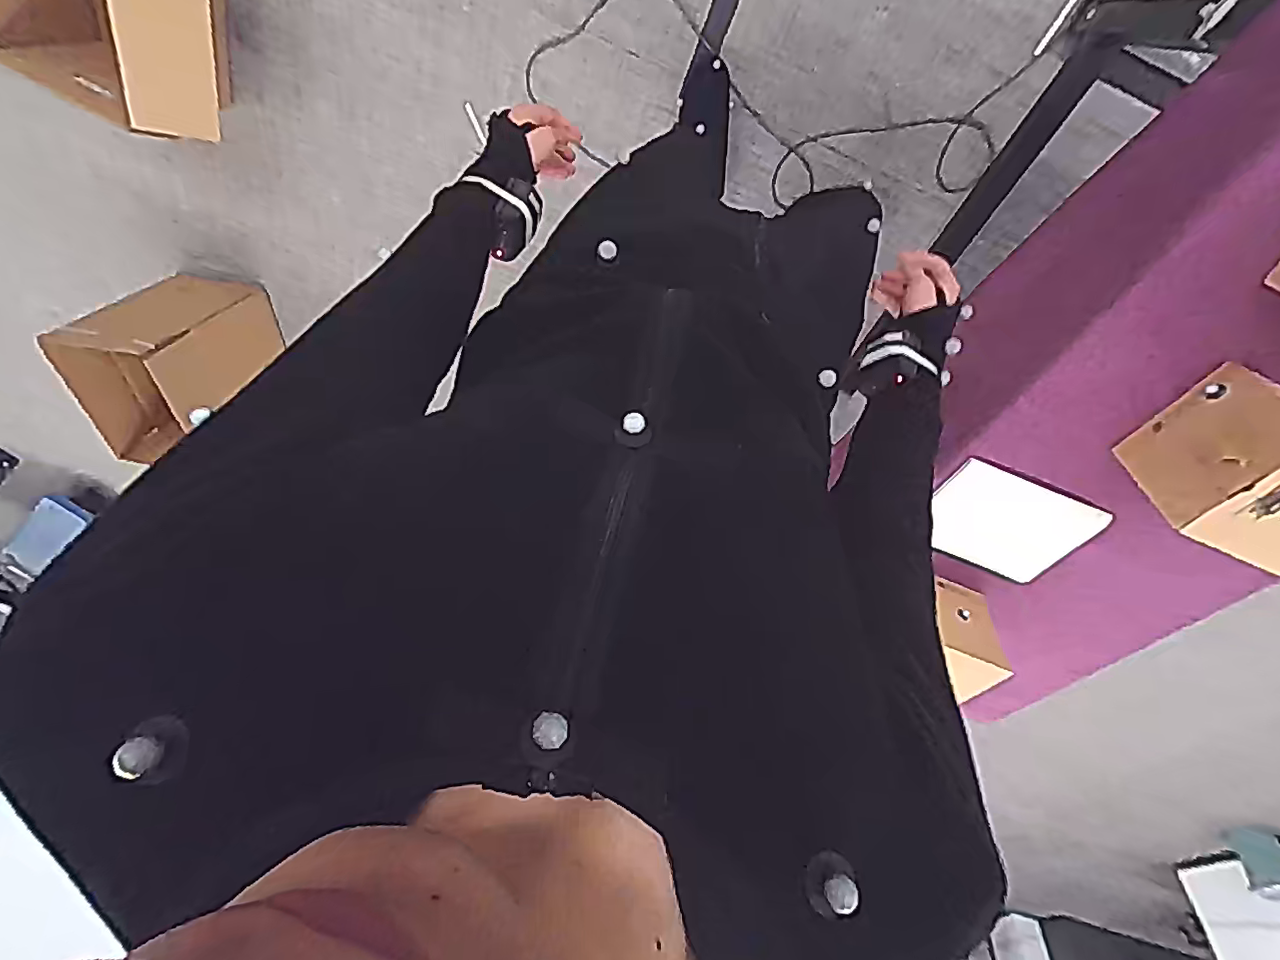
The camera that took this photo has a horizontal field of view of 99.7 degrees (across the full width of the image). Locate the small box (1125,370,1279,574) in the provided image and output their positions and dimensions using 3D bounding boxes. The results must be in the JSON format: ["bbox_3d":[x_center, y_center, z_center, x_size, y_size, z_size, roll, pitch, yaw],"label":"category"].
[{"bbox_3d":[0.788,-0.014,0.685,0.179,0.176,0.168,21,132,-8],"label":"small box"}]

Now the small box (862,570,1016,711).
[{"bbox_3d":[0.540,0.296,1.010,0.168,0.176,0.179,22,132,-8],"label":"small box"}]
